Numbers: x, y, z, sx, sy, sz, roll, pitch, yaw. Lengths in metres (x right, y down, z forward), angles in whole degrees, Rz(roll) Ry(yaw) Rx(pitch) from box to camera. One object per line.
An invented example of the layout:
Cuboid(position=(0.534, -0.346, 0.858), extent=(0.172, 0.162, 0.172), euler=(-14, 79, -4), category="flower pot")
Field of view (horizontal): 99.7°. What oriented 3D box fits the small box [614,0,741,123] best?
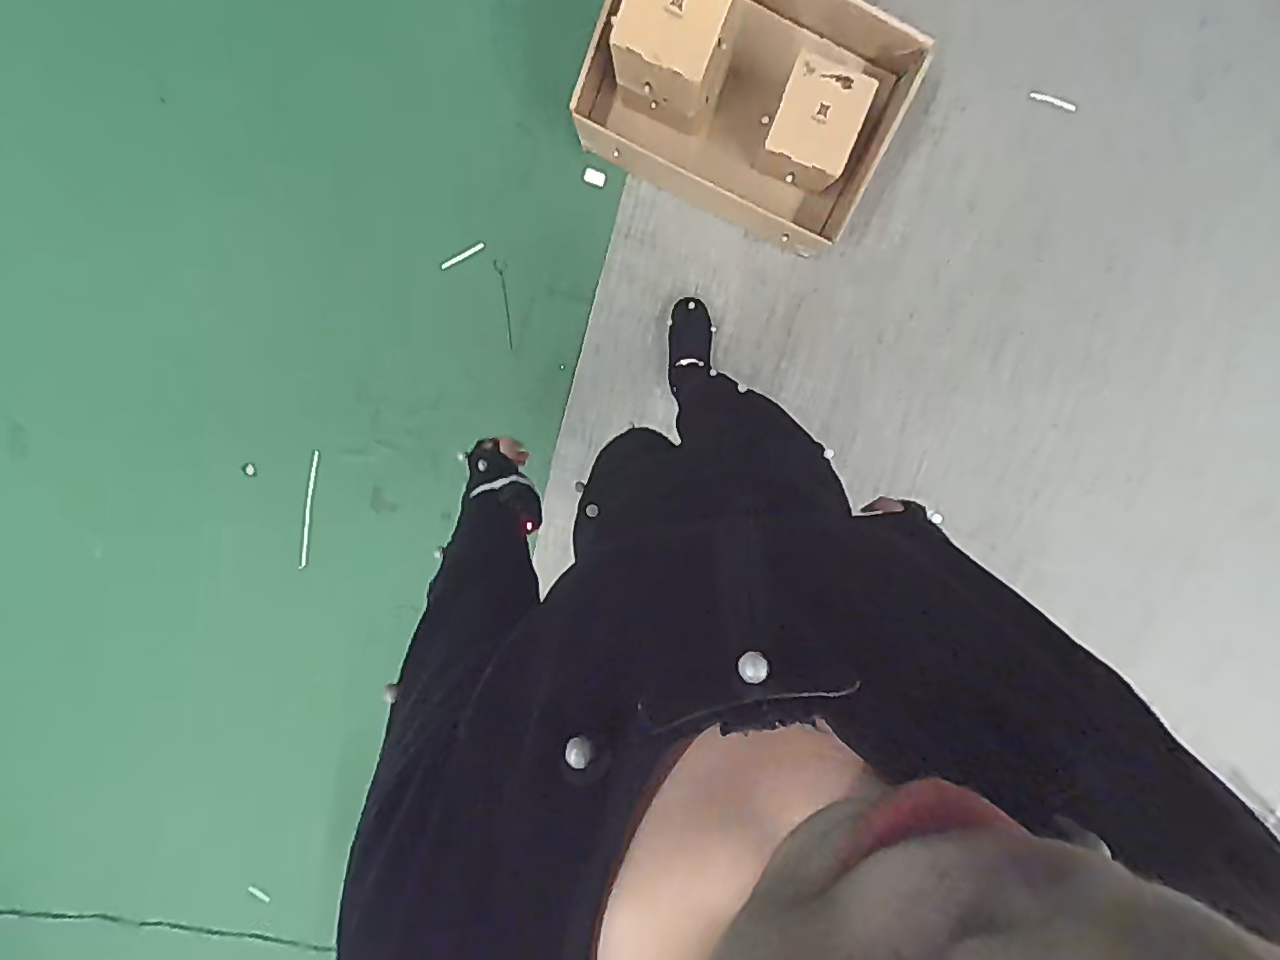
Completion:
Cuboid(position=(0.064, -0.781, 0.958), extent=(0.168, 0.176, 0.179), euler=(23, 107, -5), category="small box")
